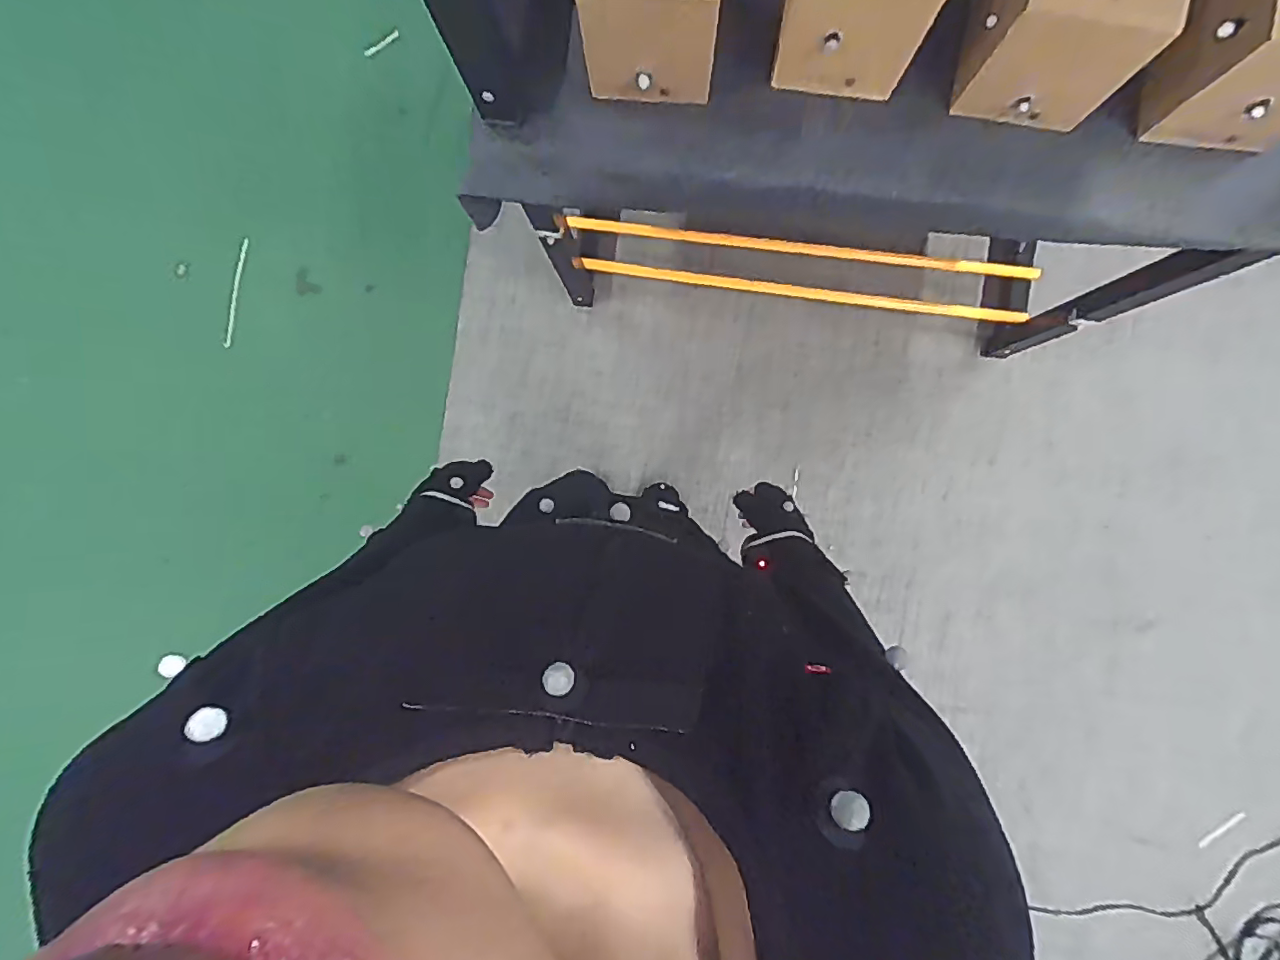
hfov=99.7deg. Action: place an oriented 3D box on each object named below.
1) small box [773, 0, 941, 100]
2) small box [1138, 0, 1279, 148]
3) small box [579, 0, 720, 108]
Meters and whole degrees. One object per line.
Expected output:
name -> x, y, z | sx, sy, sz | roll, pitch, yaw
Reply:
small box -> 0.271, -0.622, 0.678 | 0.168, 0.176, 0.179 | 8, 89, 3
small box -> 0.757, -0.537, 0.650 | 0.168, 0.176, 0.179 | 7, 89, 3
small box -> 0.018, -0.621, 0.688 | 0.168, 0.176, 0.179 | 4, 90, 3
